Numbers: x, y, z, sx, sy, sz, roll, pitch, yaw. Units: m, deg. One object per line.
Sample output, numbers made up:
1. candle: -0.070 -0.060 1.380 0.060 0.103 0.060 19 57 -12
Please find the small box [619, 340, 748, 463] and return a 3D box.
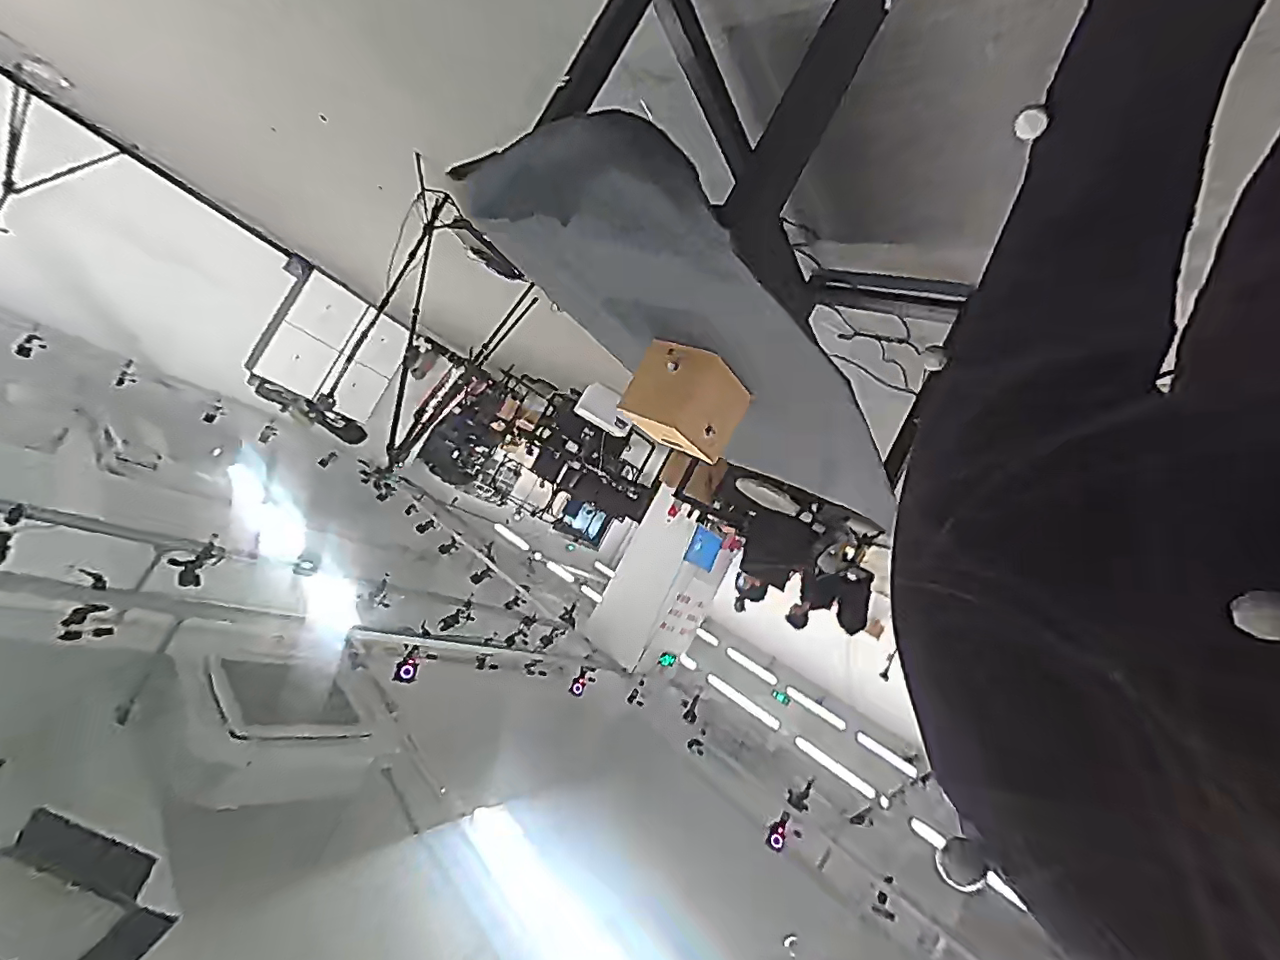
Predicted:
1. small box: 0.096 -0.163 1.117 0.168 0.176 0.179 25 174 40
